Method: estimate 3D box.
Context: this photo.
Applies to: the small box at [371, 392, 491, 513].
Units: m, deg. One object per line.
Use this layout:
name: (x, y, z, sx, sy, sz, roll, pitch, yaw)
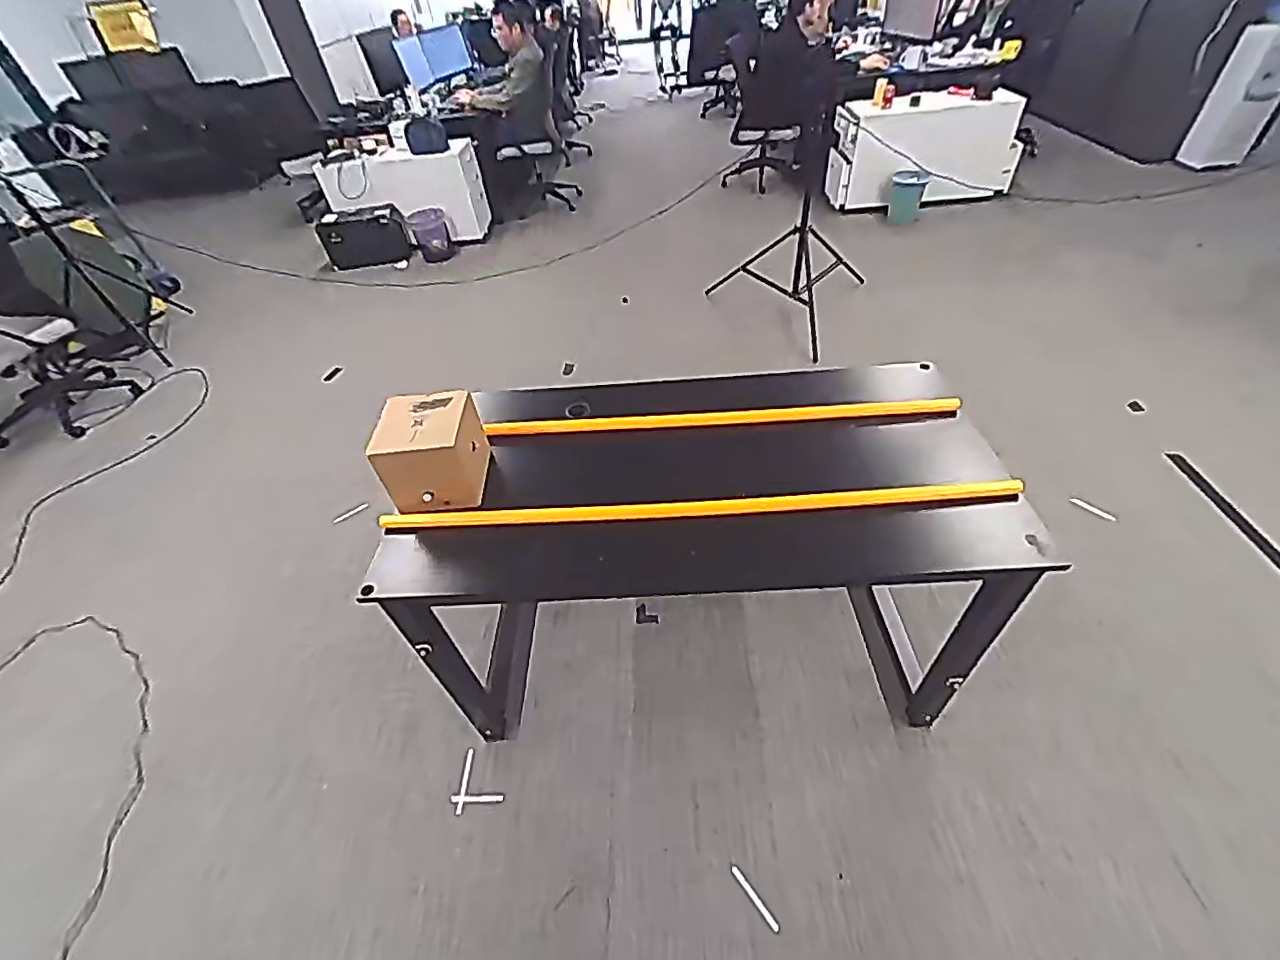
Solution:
small box: (-0.410, -0.055, 1.099, 0.168, 0.176, 0.179, -6, 45, 1)
